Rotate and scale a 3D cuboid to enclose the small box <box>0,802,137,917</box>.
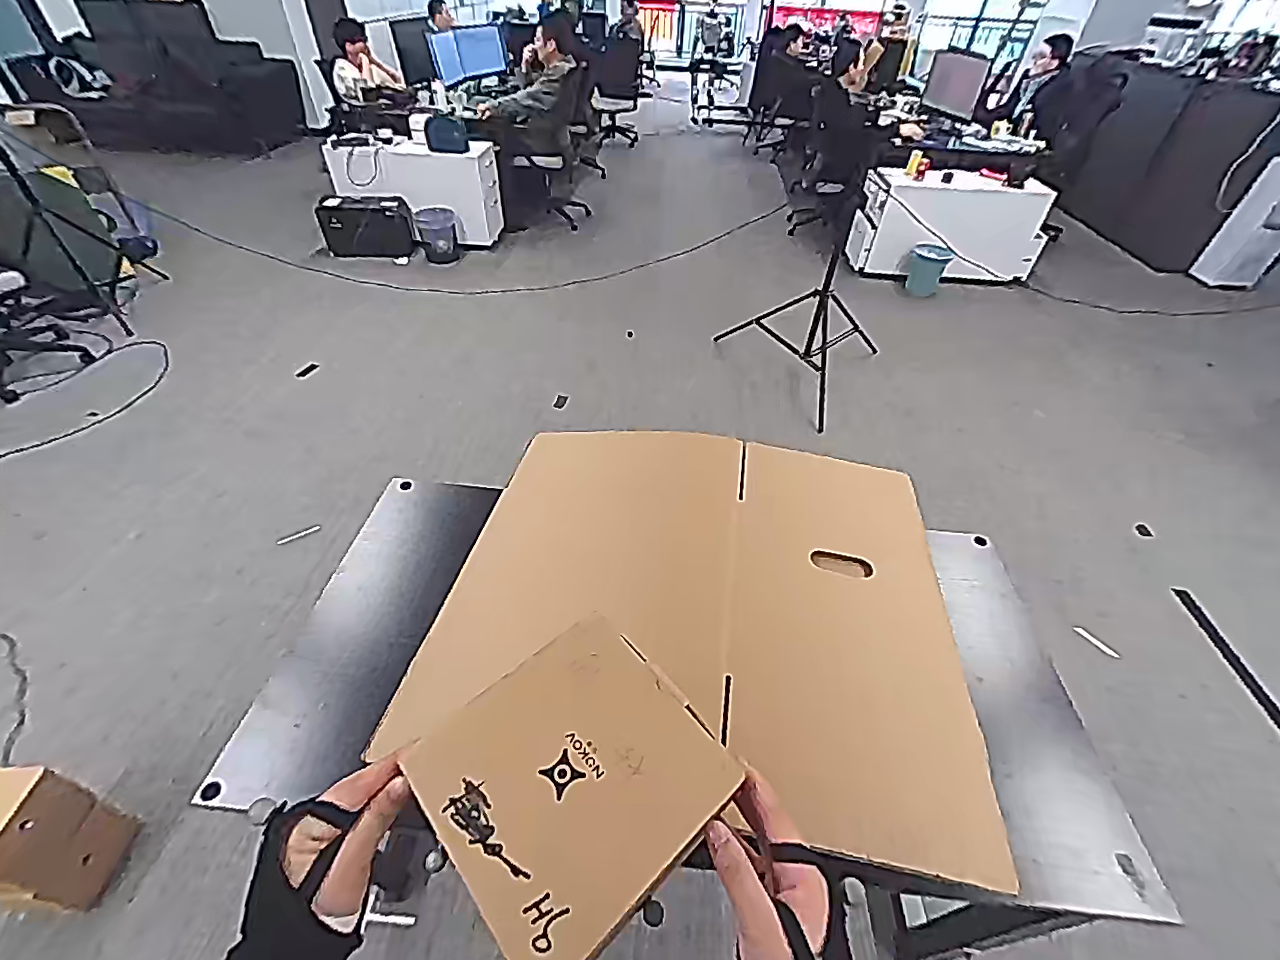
[{"bbox_3d":[-1.251,0.815,1.165,0.168,0.176,0.179,2,44,-1],"label":"small box"}]

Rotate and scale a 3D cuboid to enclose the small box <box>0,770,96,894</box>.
[{"bbox_3d":[-1.247,0.692,1.058,0.168,0.176,0.179,1,42,-4],"label":"small box"}]

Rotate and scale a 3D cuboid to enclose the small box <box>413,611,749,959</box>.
[{"bbox_3d":[-0.045,0.246,0.428,0.179,0.176,0.168,-32,55,-30],"label":"small box"}]
